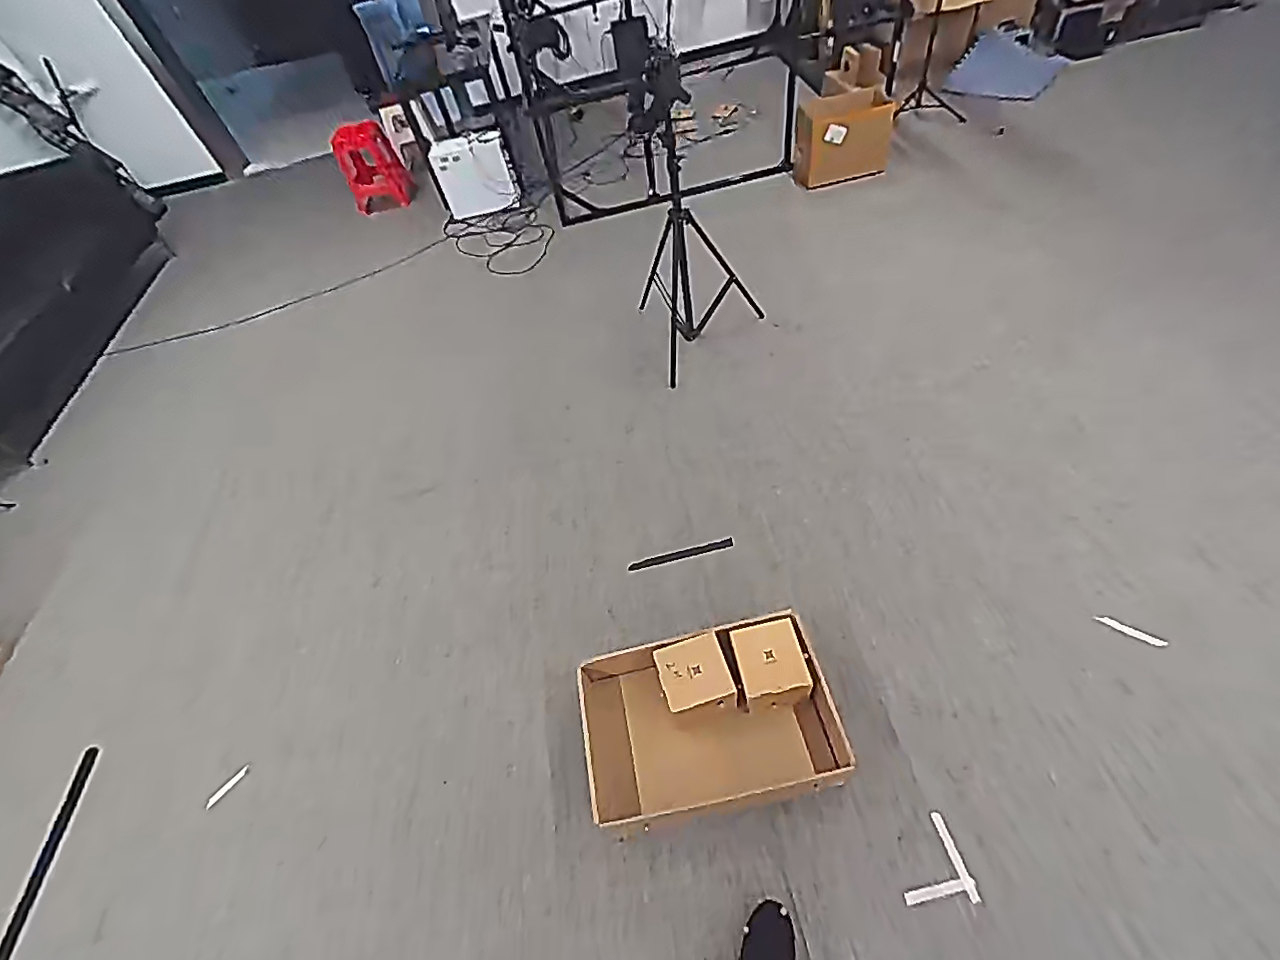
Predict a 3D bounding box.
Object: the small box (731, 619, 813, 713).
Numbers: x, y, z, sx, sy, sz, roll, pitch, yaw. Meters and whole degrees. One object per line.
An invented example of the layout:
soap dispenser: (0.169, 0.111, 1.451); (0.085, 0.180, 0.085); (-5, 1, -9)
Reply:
small box: (0.341, 0.496, 1.433); (0.168, 0.176, 0.179); (-14, 54, 2)
